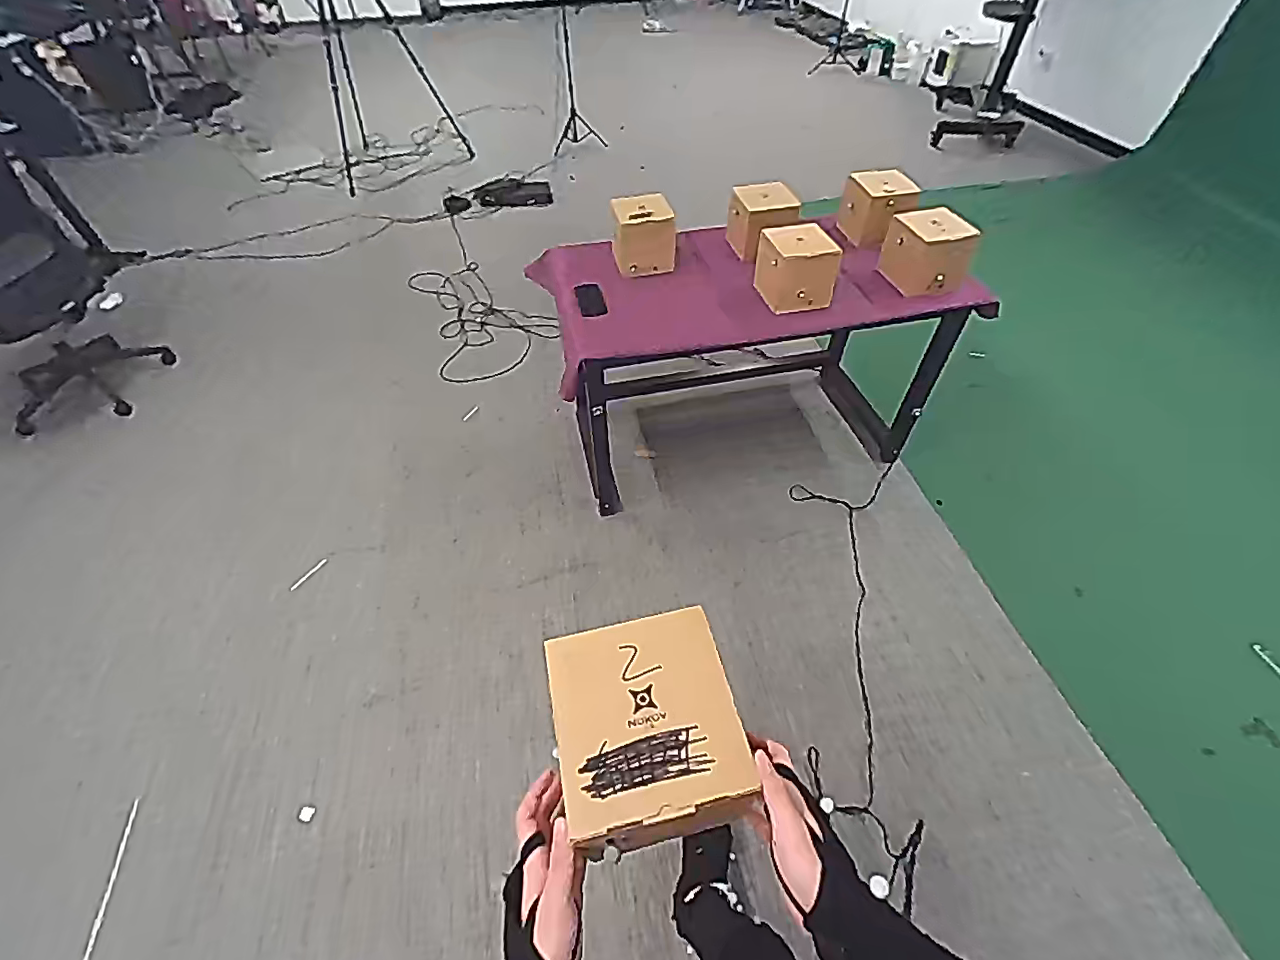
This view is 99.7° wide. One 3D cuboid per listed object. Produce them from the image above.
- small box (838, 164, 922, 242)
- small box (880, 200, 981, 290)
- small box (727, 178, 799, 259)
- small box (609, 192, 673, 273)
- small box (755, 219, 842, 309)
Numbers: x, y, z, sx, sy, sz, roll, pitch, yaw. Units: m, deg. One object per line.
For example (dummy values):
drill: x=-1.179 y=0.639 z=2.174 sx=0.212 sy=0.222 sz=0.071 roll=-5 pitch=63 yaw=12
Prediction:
small box: x=0.762 y=-0.892 z=1.742 sx=0.168 sy=0.176 sz=0.179 roll=-10 pitch=50 yaw=-5
small box: x=0.819 y=-0.673 z=1.551 sx=0.168 sy=0.176 sz=0.179 roll=-12 pitch=51 yaw=-6
small box: x=0.380 y=-0.823 z=1.704 sx=0.168 sy=0.176 sz=0.179 roll=-11 pitch=51 yaw=-5
small box: x=0.005 y=-0.753 z=1.659 sx=0.168 sy=0.176 sz=0.179 roll=-11 pitch=50 yaw=-7
small box: x=0.434 y=-0.604 z=1.517 sx=0.168 sy=0.176 sz=0.179 roll=-11 pitch=50 yaw=-7
